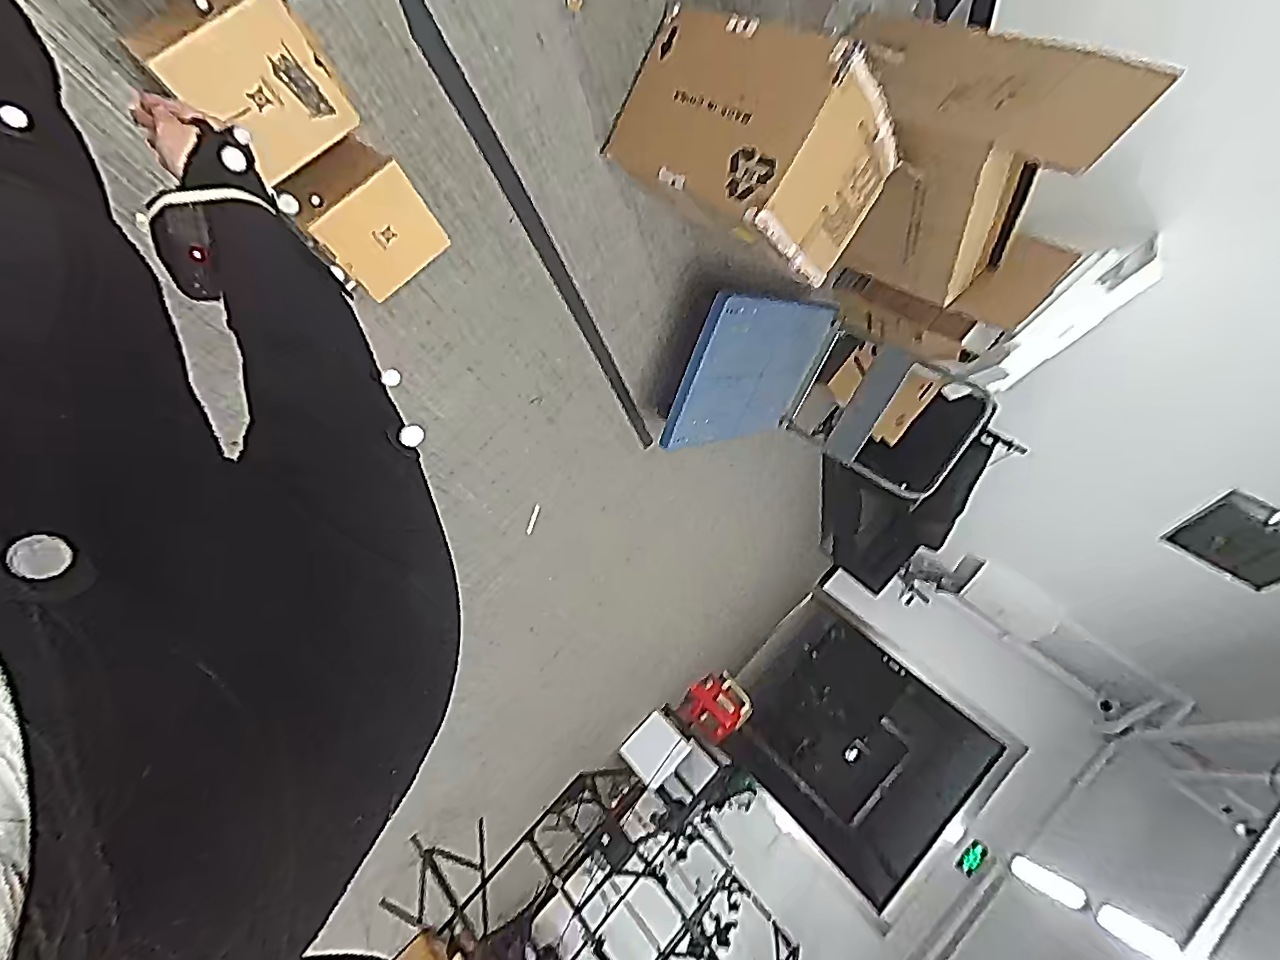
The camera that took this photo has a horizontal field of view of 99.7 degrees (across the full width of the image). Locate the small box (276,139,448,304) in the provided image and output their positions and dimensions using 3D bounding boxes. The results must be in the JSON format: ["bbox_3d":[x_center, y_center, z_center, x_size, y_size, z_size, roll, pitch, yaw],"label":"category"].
[{"bbox_3d":[-0.482,-0.451,0.939,0.179,0.176,0.168,-45,151,-9],"label":"small box"}]

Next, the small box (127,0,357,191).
[{"bbox_3d":[-0.542,-0.545,0.741,0.179,0.176,0.168,-43,150,-10],"label":"small box"}]
